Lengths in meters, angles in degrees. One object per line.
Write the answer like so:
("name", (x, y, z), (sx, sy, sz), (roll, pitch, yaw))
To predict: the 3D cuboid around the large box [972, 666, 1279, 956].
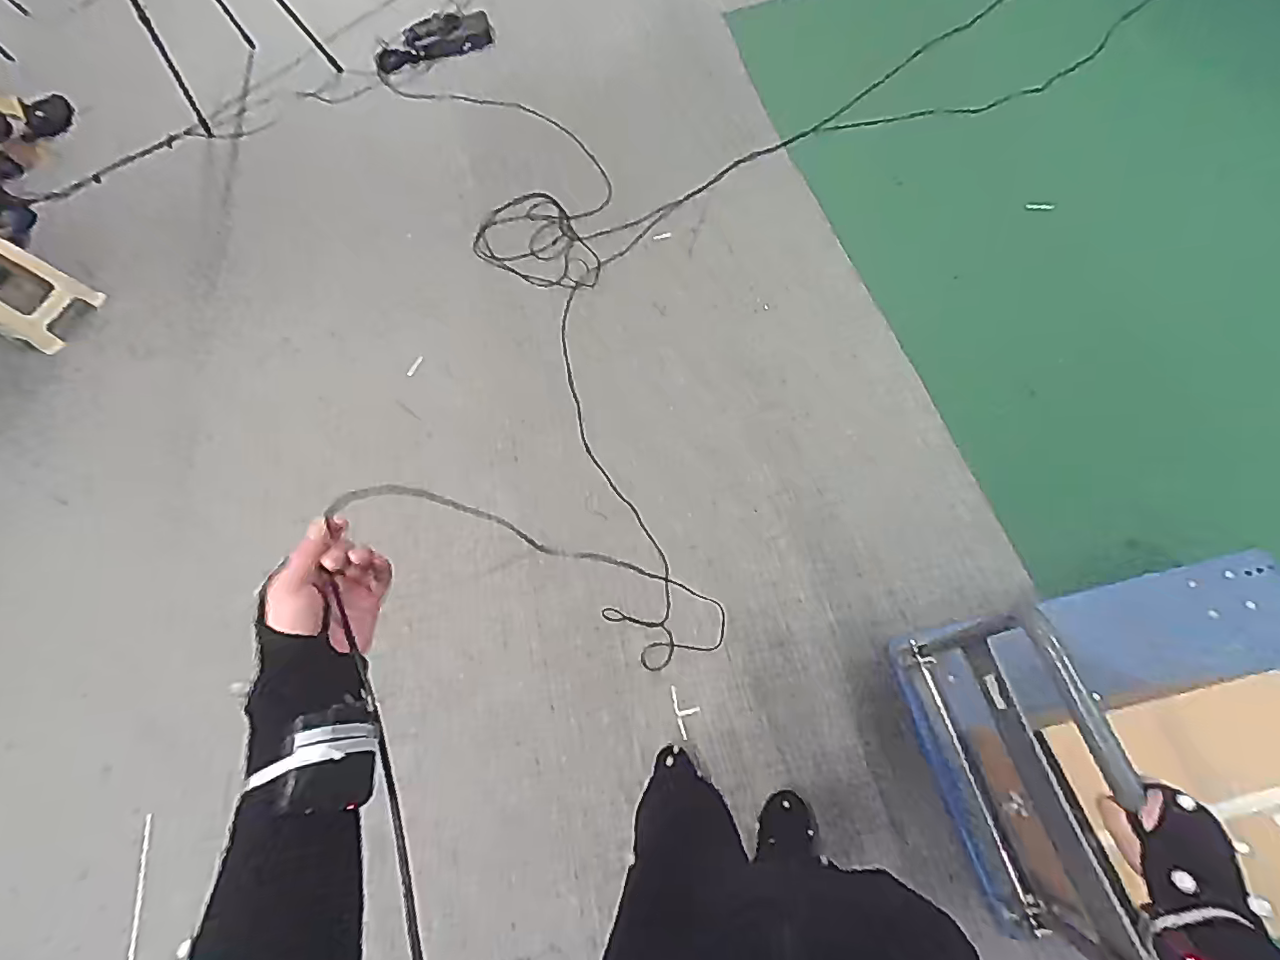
("large box", (0.916, 0.560, 0.967), (0.408, 0.320, 0.320), (-16, 64, 2))
